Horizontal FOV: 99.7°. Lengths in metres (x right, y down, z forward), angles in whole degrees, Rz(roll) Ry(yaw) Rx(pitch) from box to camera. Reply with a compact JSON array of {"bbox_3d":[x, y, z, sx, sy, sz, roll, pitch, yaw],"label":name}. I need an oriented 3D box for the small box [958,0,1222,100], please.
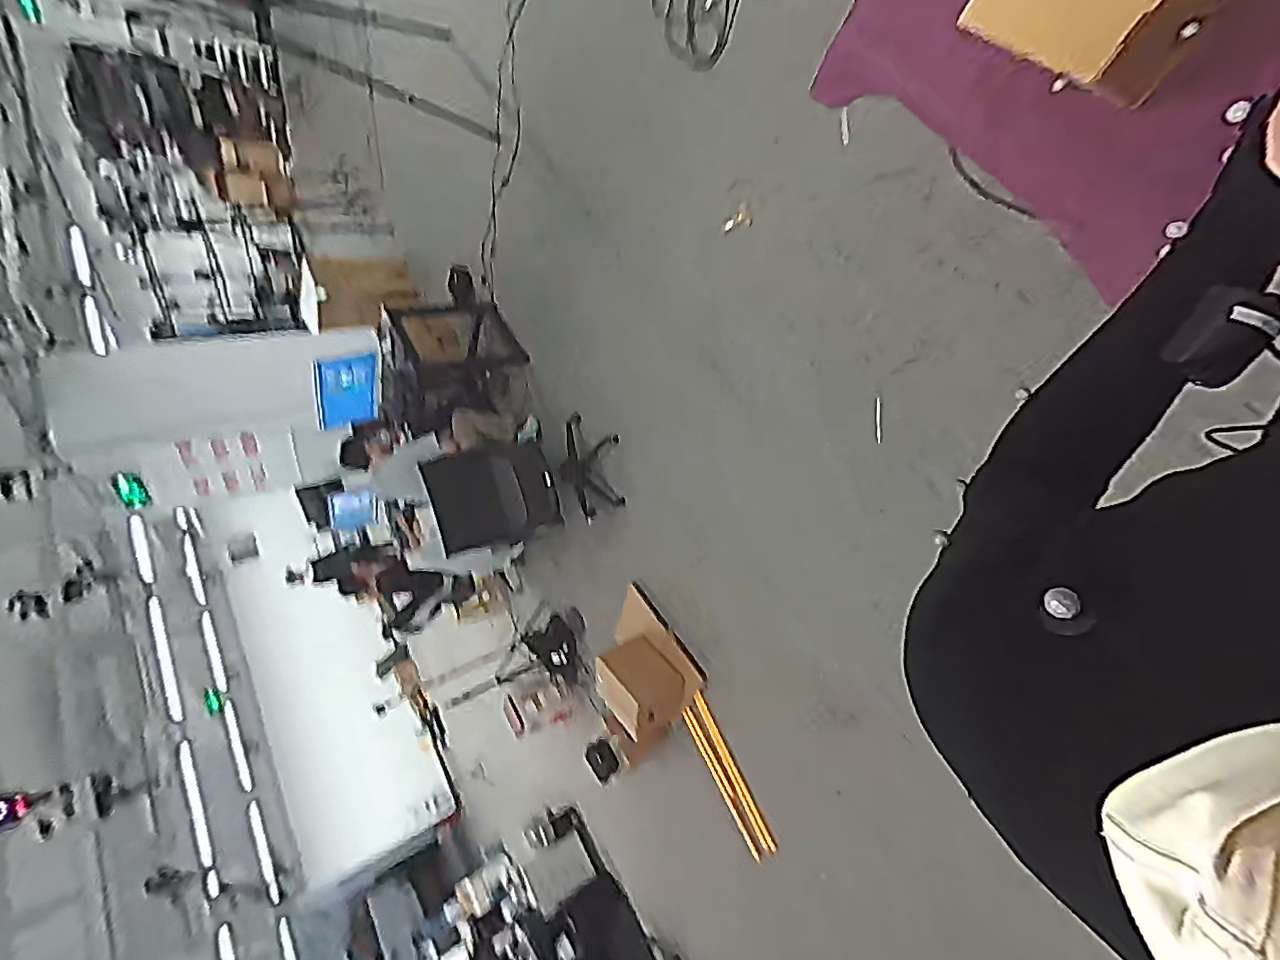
[{"bbox_3d":[0.496,-0.536,0.573,0.179,0.176,0.168,53,140,26],"label":"small box"}]
